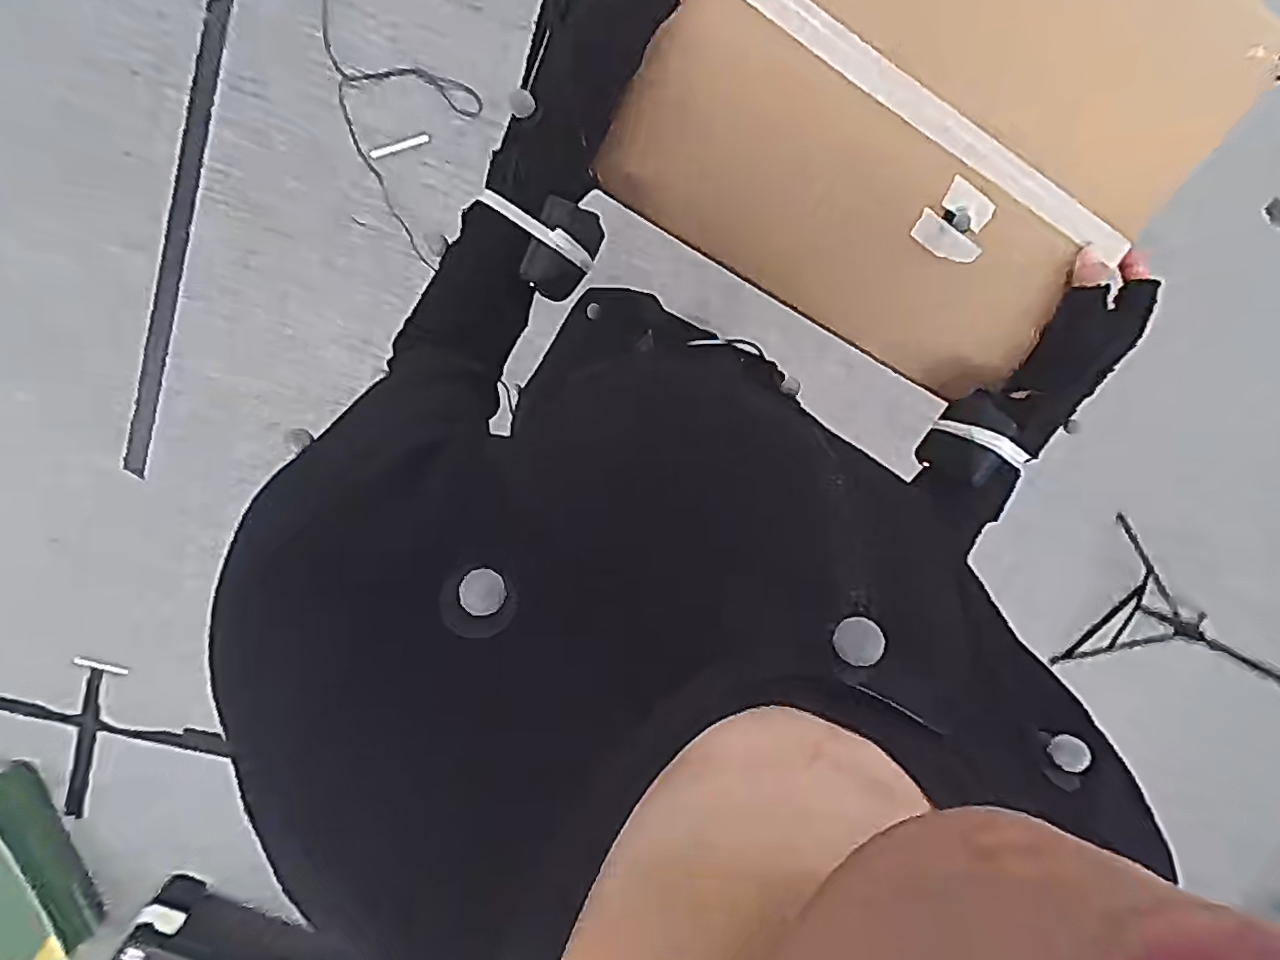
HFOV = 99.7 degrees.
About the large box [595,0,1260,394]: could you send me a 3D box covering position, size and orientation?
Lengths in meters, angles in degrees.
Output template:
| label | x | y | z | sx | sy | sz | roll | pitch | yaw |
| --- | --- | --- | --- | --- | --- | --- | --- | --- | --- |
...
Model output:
| label | x | y | z | sx | sy | sz | roll | pitch | yaw |
| --- | --- | --- | --- | --- | --- | --- | --- | --- | --- |
| large box | 0.202 | -0.346 | 0.539 | 0.408 | 0.320 | 0.320 | 25 | 115 | -14 |
